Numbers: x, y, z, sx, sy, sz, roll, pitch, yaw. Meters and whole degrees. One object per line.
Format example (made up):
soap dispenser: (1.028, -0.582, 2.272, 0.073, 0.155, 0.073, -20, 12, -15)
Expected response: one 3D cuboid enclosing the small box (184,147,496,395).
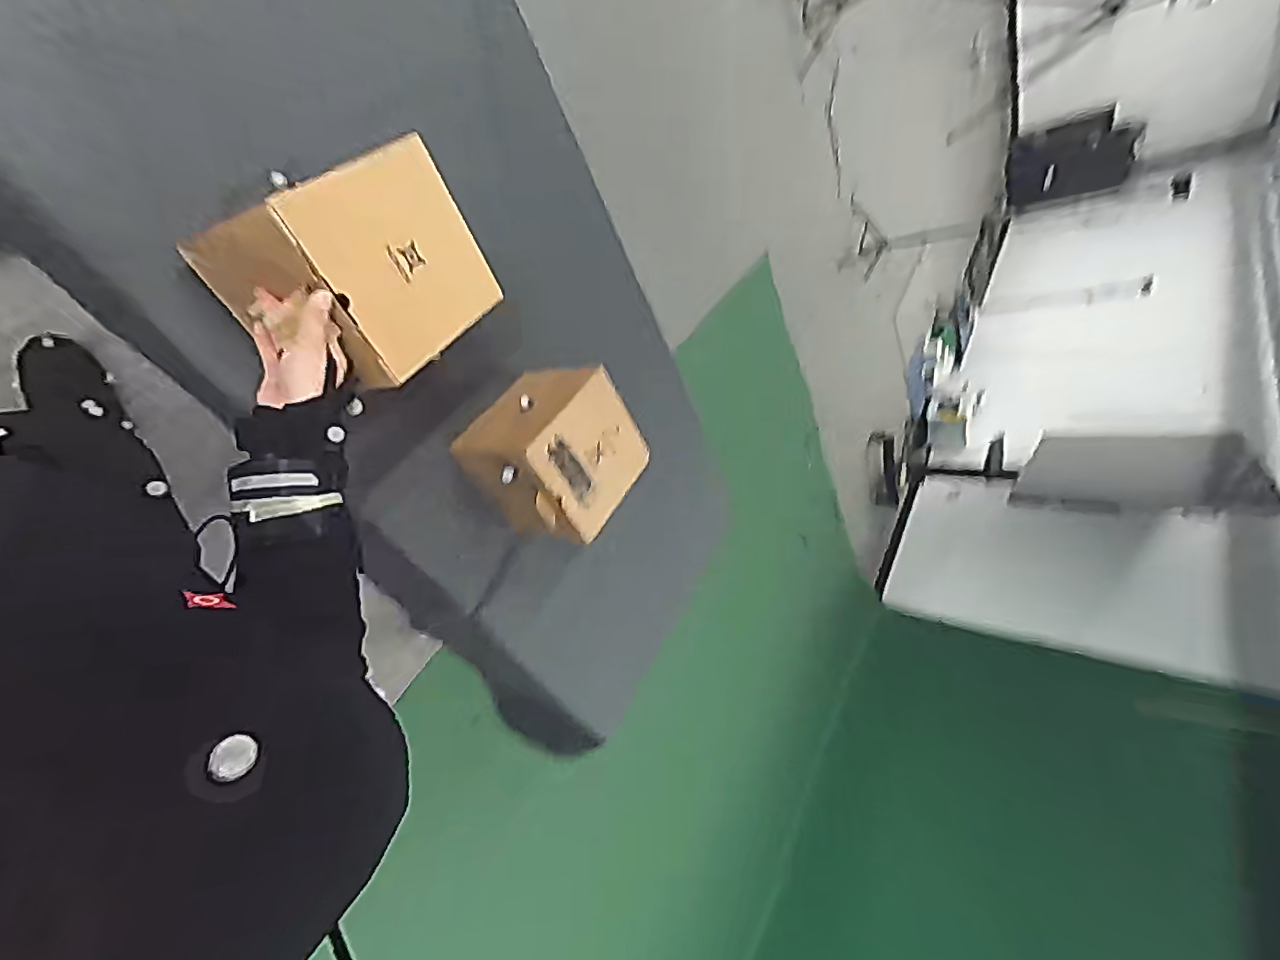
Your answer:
small box: (-0.287, -0.201, 0.539, 0.179, 0.176, 0.168, -60, 141, -37)
